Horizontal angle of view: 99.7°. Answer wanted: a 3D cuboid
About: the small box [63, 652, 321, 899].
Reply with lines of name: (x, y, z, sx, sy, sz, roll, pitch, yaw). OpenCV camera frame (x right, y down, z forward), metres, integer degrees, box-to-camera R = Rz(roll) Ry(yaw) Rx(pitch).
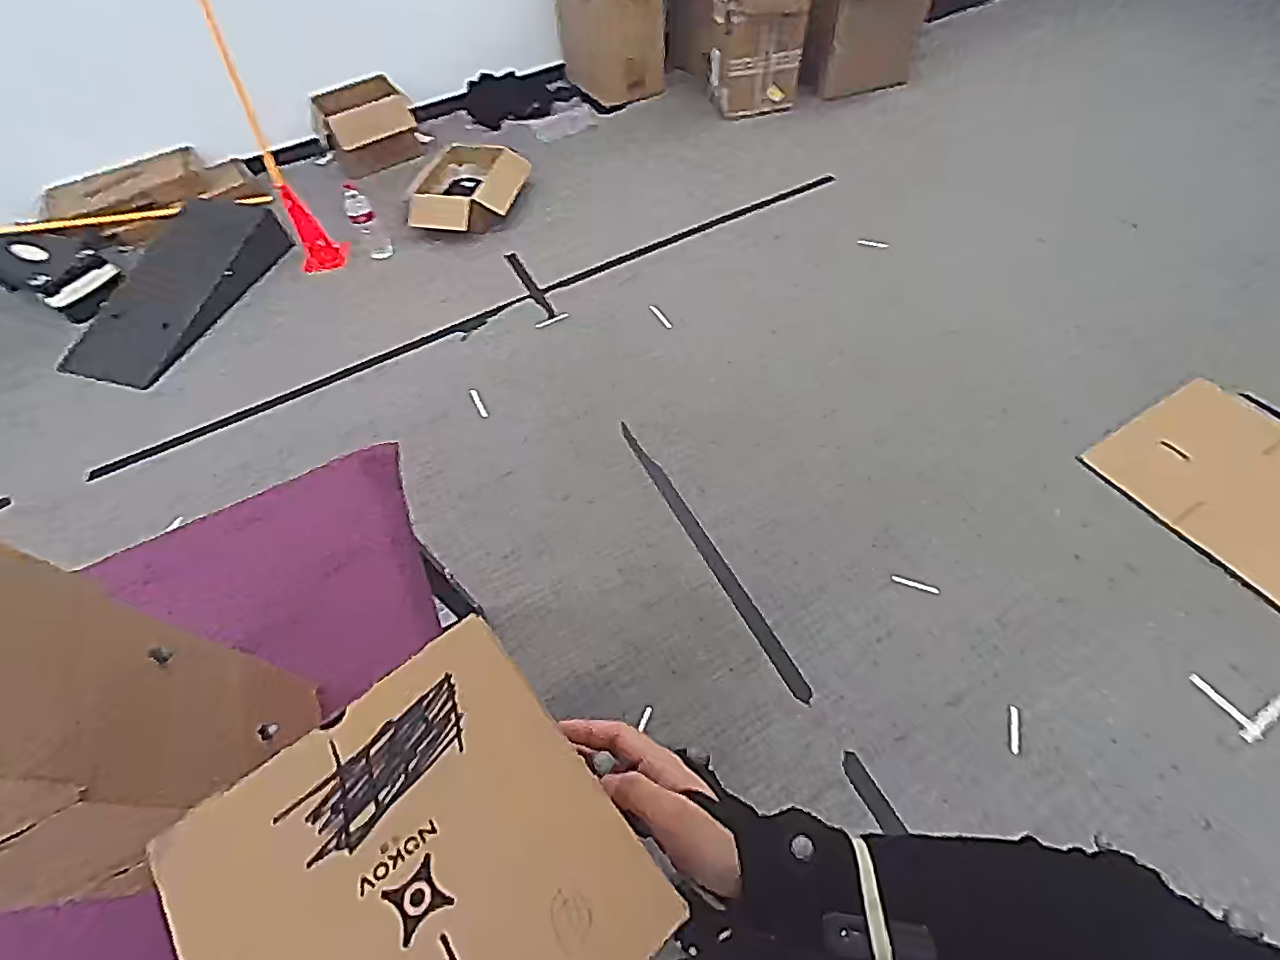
small box: (-0.484, 0.331, 0.617, 0.168, 0.176, 0.179, -25, 57, -12)

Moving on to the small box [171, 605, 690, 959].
small box: (-0.095, 0.209, 0.298, 0.168, 0.176, 0.179, -34, 62, -21)

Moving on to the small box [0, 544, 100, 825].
small box: (-0.509, 0.142, 0.348, 0.168, 0.176, 0.179, -25, 59, -11)
